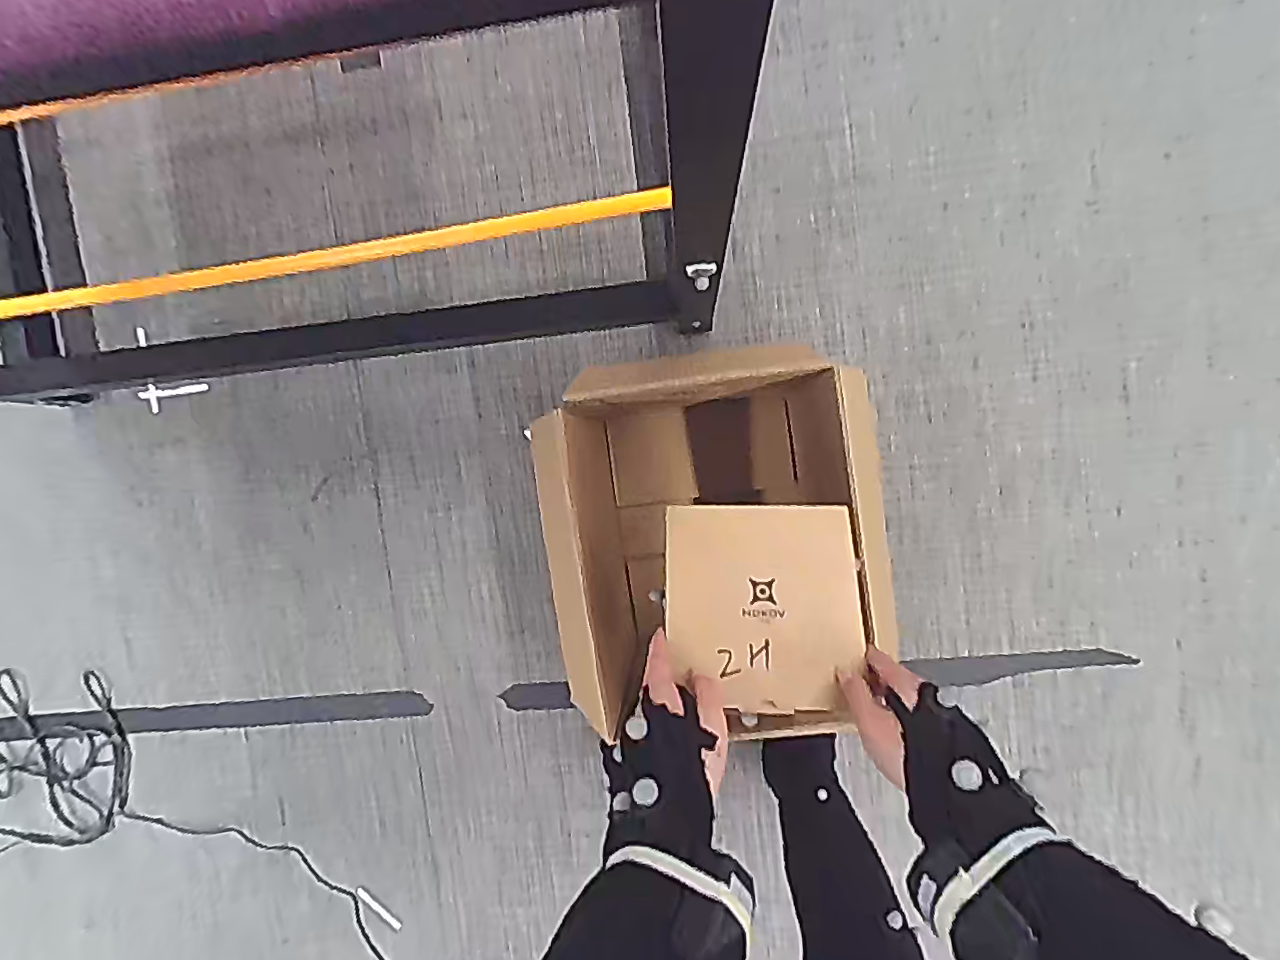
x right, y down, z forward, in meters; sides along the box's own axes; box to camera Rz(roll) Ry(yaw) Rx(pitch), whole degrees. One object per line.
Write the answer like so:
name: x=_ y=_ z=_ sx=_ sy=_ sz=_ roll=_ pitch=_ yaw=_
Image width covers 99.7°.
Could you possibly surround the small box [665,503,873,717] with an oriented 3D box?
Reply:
small box: x=0.109 y=0.134 z=0.534 sx=0.168 sy=0.176 sz=0.179 roll=1 pitch=69 yaw=4
